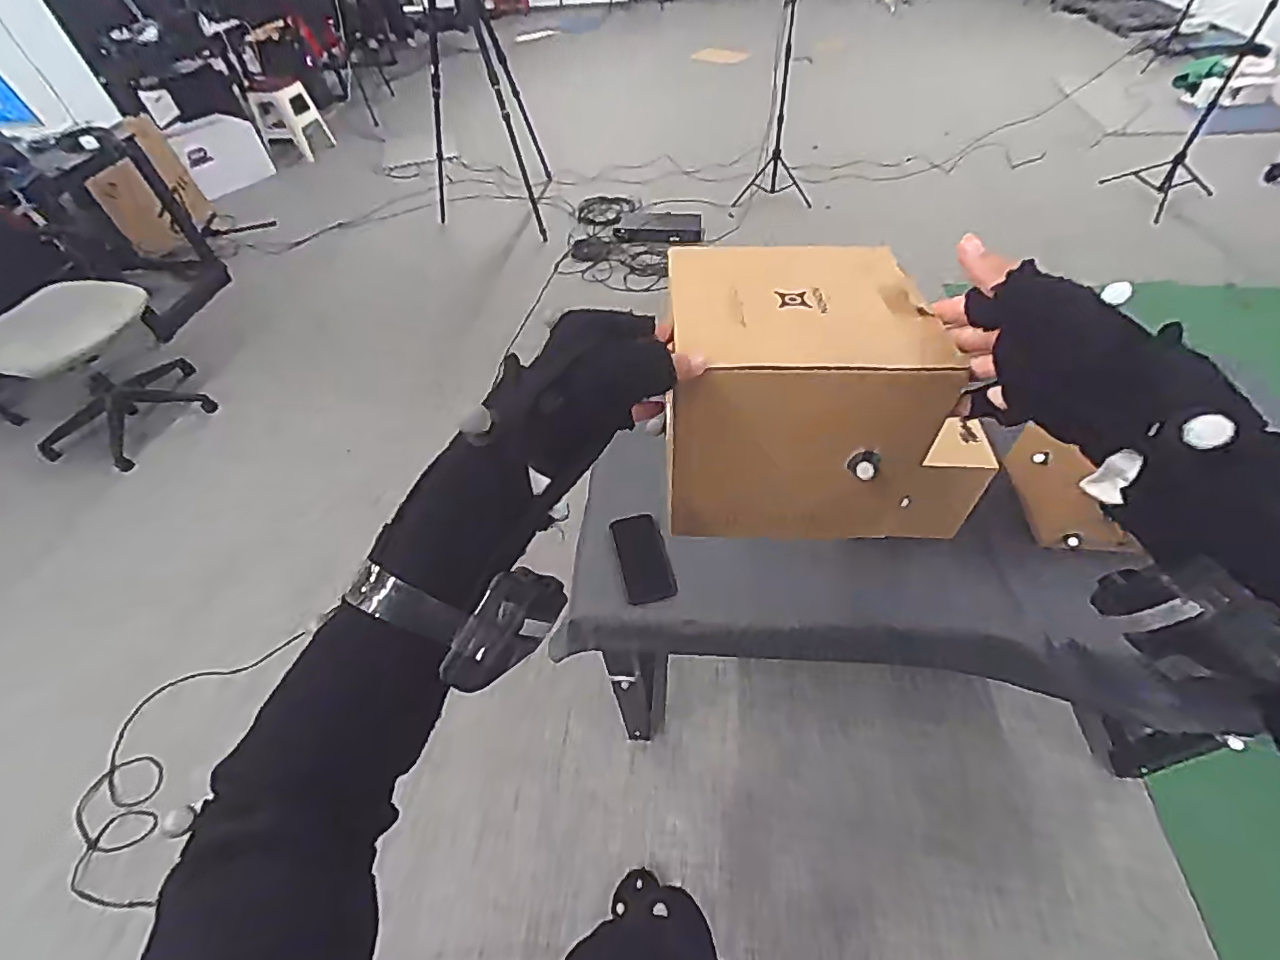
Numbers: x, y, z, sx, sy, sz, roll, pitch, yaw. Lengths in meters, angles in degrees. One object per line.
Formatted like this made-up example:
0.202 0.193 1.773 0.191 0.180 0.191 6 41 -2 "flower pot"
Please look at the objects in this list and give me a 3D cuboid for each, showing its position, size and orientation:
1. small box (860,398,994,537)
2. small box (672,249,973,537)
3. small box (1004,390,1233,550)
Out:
0.400 -0.025 0.839 0.179 0.176 0.168 1 50 7 "small box"
0.117 -0.066 0.437 0.179 0.176 0.168 -1 47 1 "small box"
0.684 -0.013 0.803 0.168 0.176 0.179 3 49 7 "small box"
